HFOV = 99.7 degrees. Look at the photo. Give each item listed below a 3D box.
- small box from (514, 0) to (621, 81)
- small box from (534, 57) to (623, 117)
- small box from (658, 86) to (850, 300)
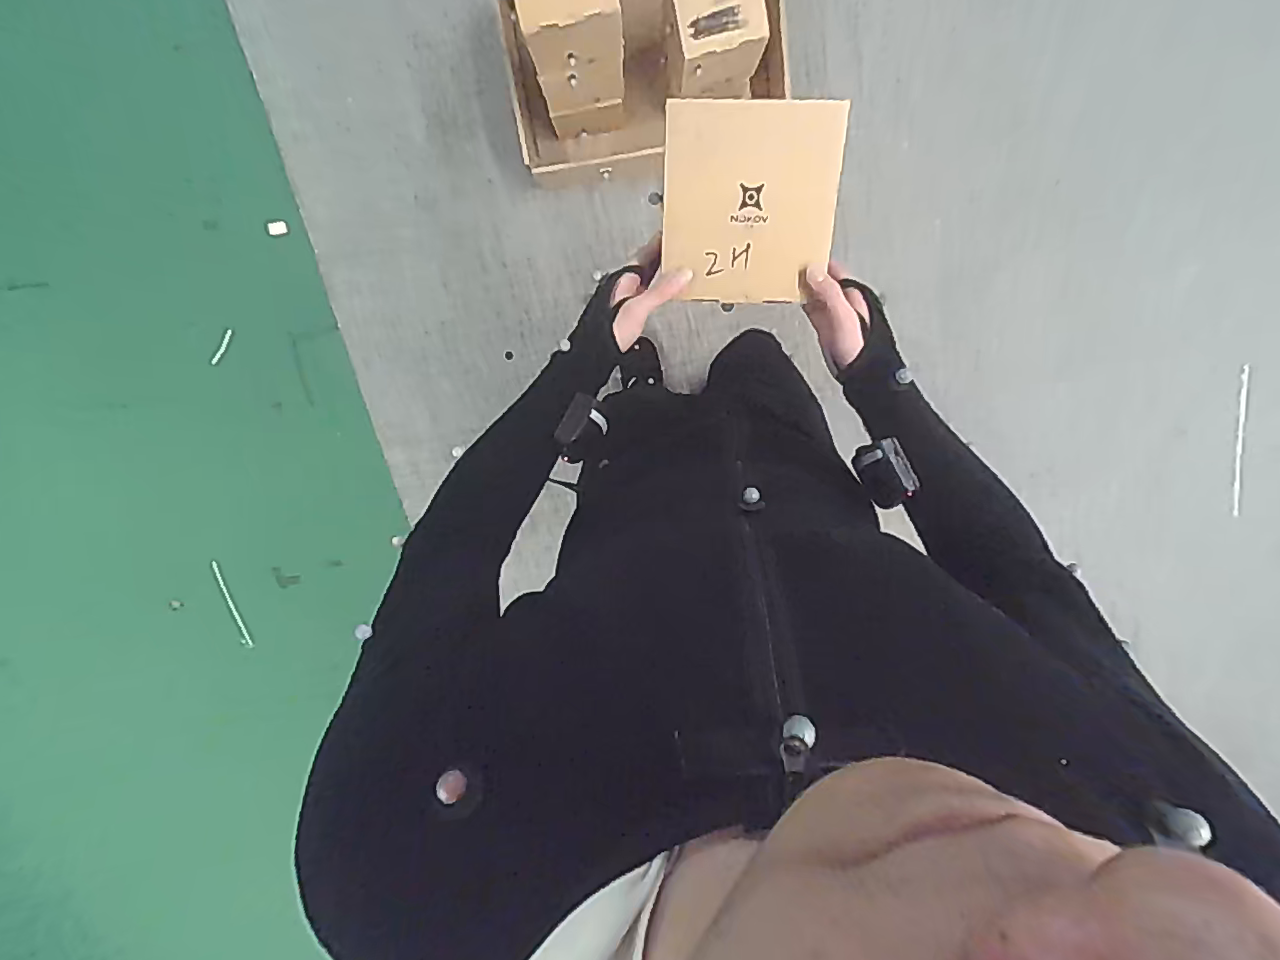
[{"bbox_3d":[-0.130,-0.832,0.923,0.168,0.176,0.179,-12,105,3],"label":"small box"},{"bbox_3d":[-0.130,-0.871,1.081,0.168,0.176,0.179,-11,103,3],"label":"small box"},{"bbox_3d":[0.105,-0.291,0.581,0.168,0.176,0.179,3,111,2],"label":"small box"}]
